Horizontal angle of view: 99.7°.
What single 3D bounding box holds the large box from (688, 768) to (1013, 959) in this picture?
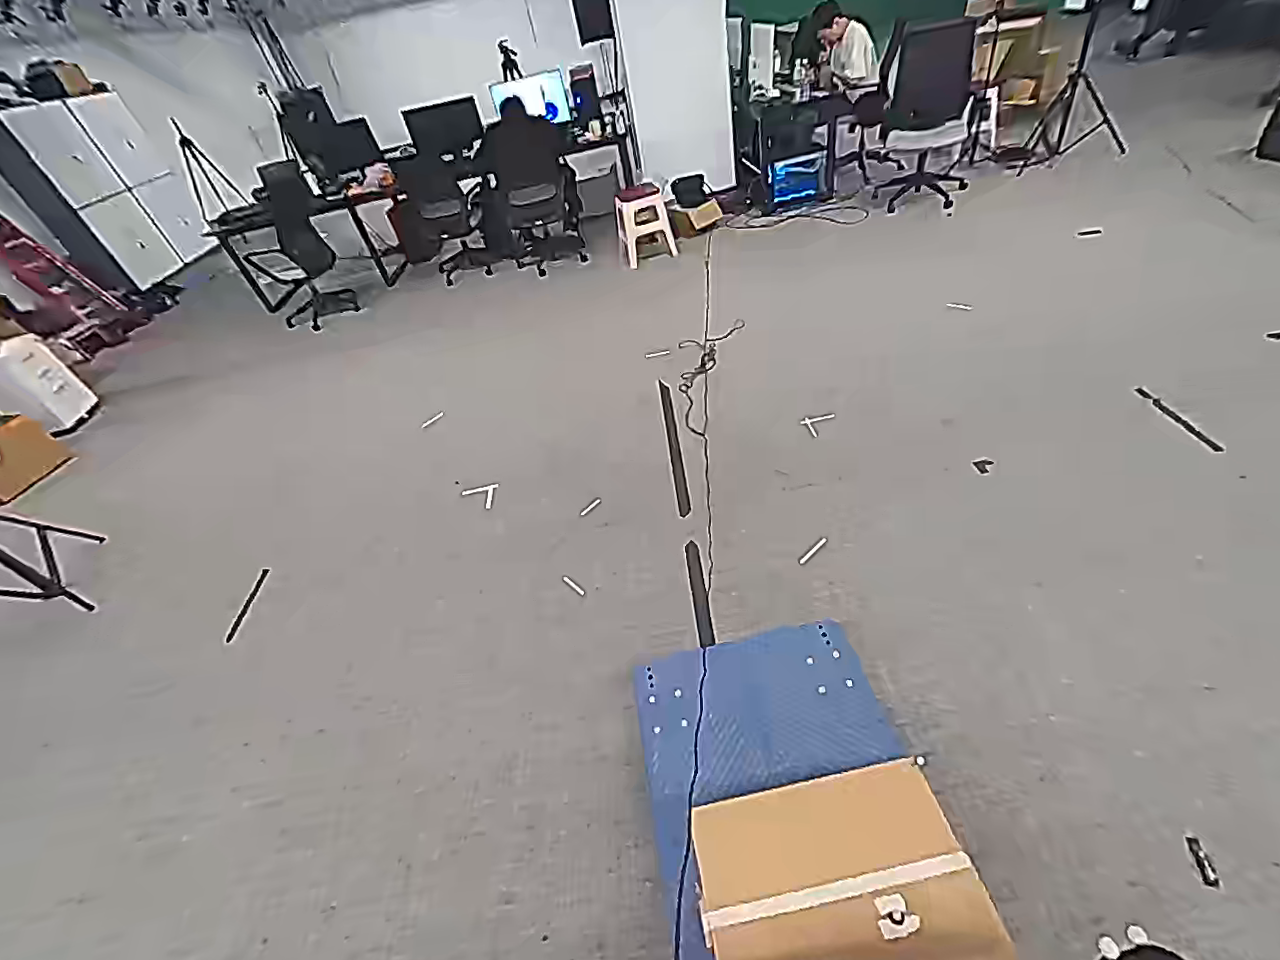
[{"bbox_3d":[0.320,0.744,0.897,0.408,0.320,0.320,-13,40,0],"label":"large box"}]
